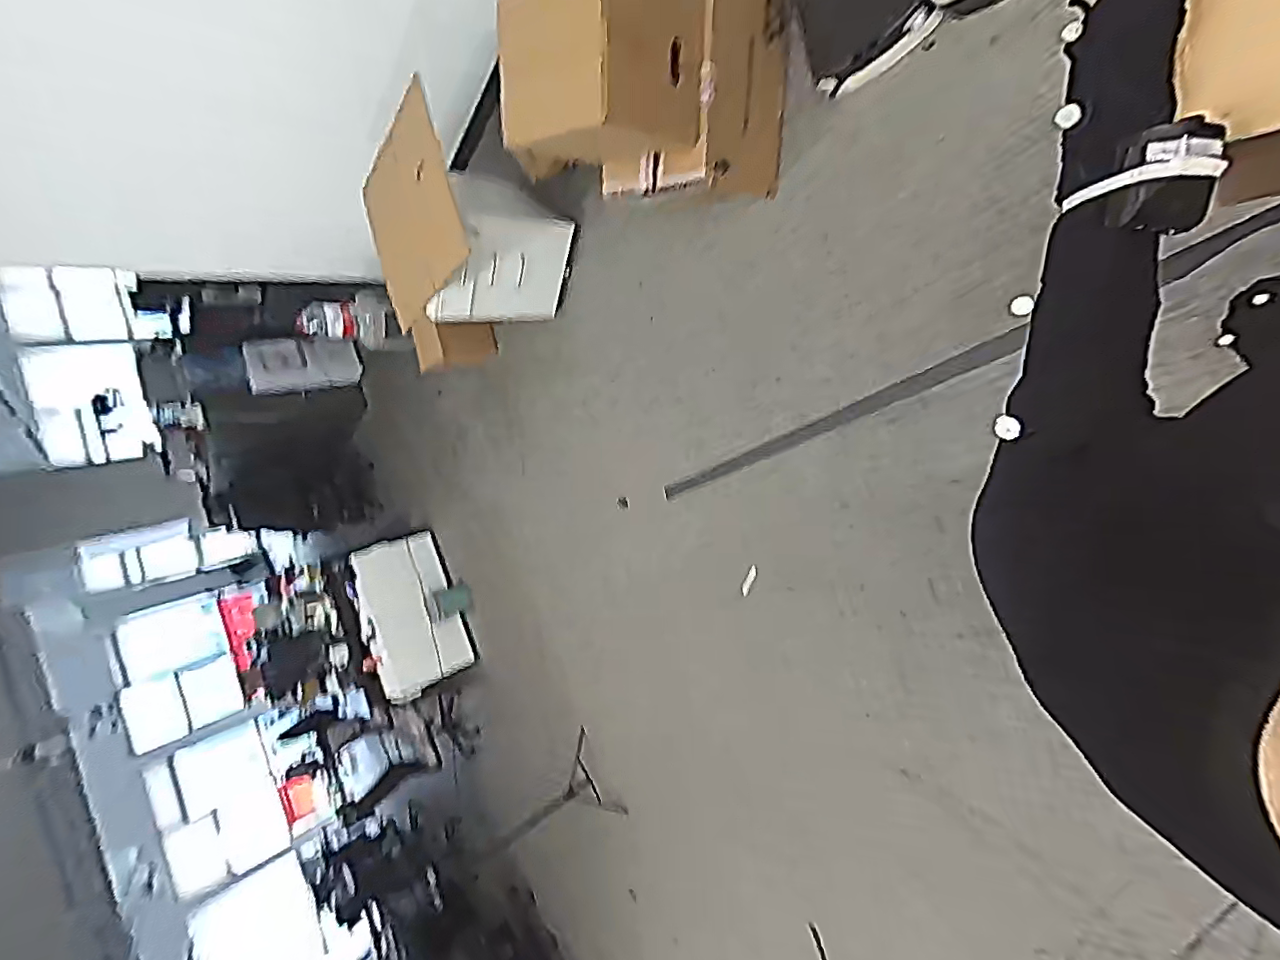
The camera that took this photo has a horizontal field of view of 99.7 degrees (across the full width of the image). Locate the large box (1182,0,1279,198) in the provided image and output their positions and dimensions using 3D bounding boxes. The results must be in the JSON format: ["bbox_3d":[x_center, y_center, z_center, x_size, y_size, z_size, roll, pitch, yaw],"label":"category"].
[{"bbox_3d":[0.623,-0.407,0.313,0.408,0.320,0.320,7,107,51],"label":"large box"}]
